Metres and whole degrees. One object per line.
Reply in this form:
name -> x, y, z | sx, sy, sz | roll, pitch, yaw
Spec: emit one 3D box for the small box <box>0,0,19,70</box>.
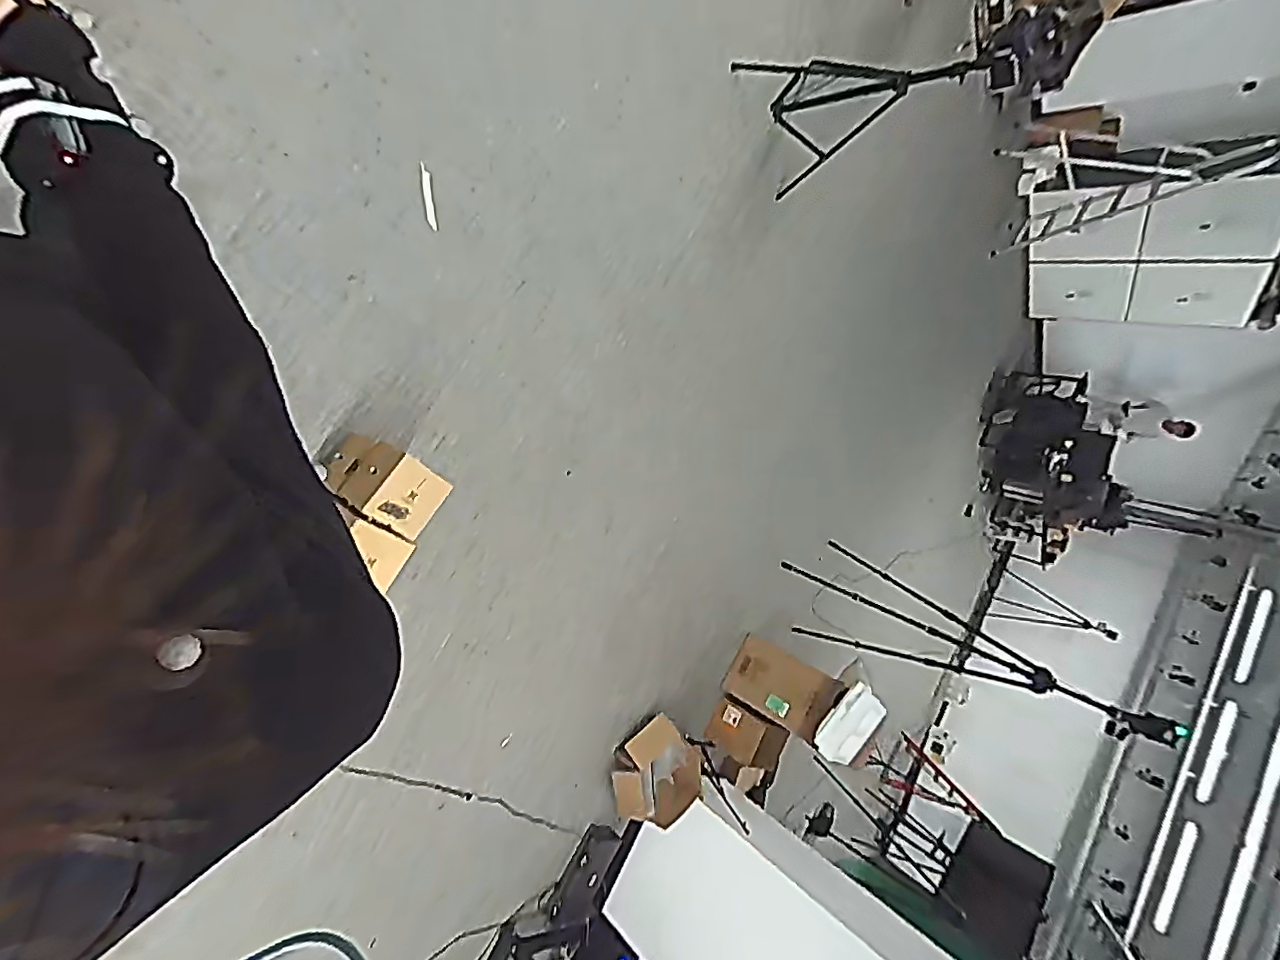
small box -> -0.598, -0.460, 0.410 | 0.168, 0.176, 0.179 | 1, 106, -51
